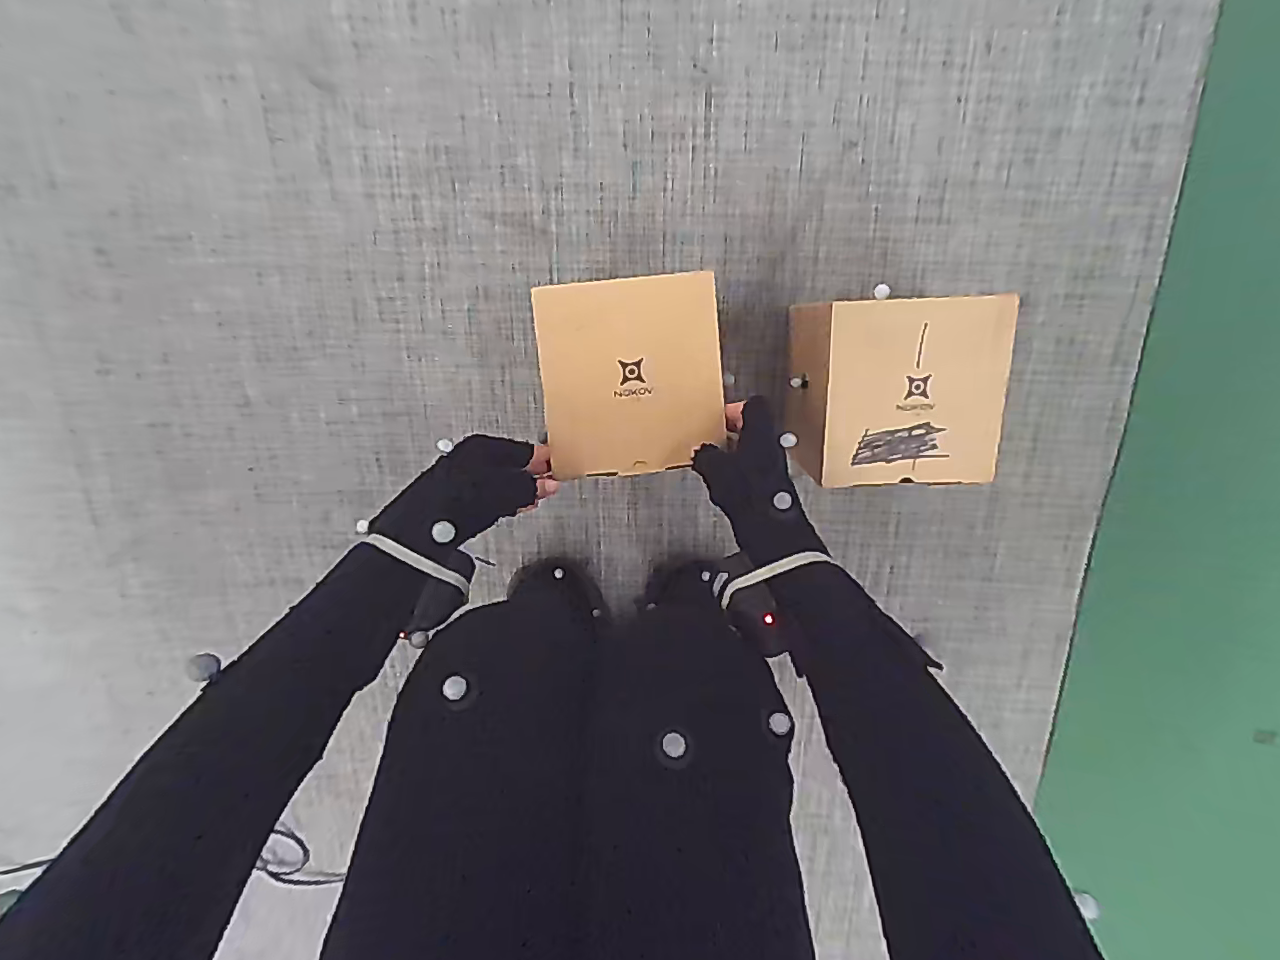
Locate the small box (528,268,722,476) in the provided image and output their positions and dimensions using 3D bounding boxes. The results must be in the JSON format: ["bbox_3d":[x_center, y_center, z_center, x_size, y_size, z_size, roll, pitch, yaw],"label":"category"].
[{"bbox_3d":[-0.014,-0.105,0.571,0.168,0.176,0.179,-6,97,0],"label":"small box"}]

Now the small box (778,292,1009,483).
[{"bbox_3d":[0.248,-0.104,0.578,0.168,0.176,0.179,-2,106,3],"label":"small box"}]
